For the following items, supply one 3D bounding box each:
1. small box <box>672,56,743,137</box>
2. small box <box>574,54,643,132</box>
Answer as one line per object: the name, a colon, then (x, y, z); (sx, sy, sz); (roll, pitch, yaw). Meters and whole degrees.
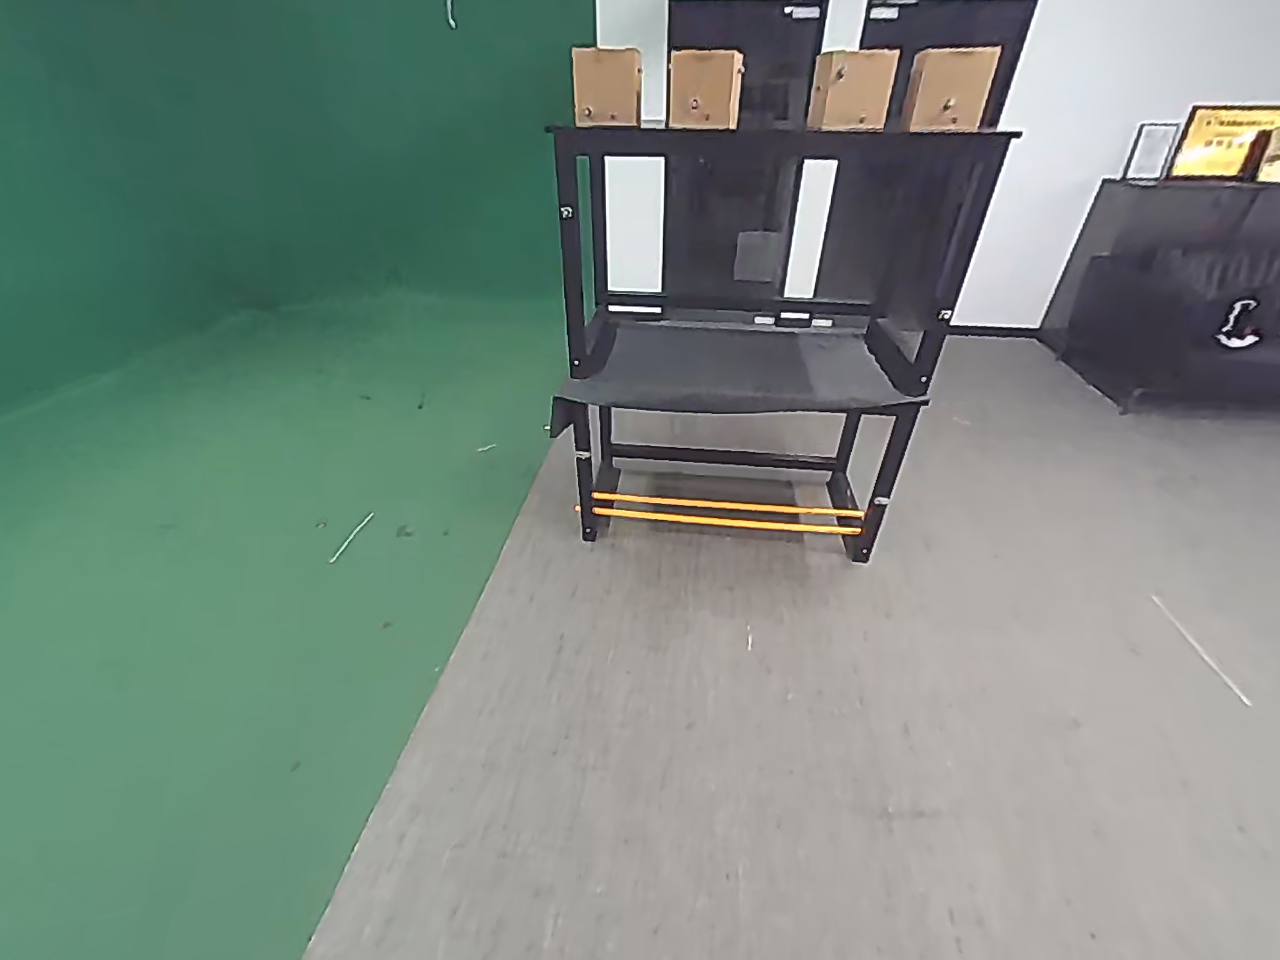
small box: (0.183, -1.046, 1.479); (0.168, 0.176, 0.179); (9, 36, 11)
small box: (-0.081, -1.067, 1.498); (0.168, 0.176, 0.179); (4, 34, 4)
